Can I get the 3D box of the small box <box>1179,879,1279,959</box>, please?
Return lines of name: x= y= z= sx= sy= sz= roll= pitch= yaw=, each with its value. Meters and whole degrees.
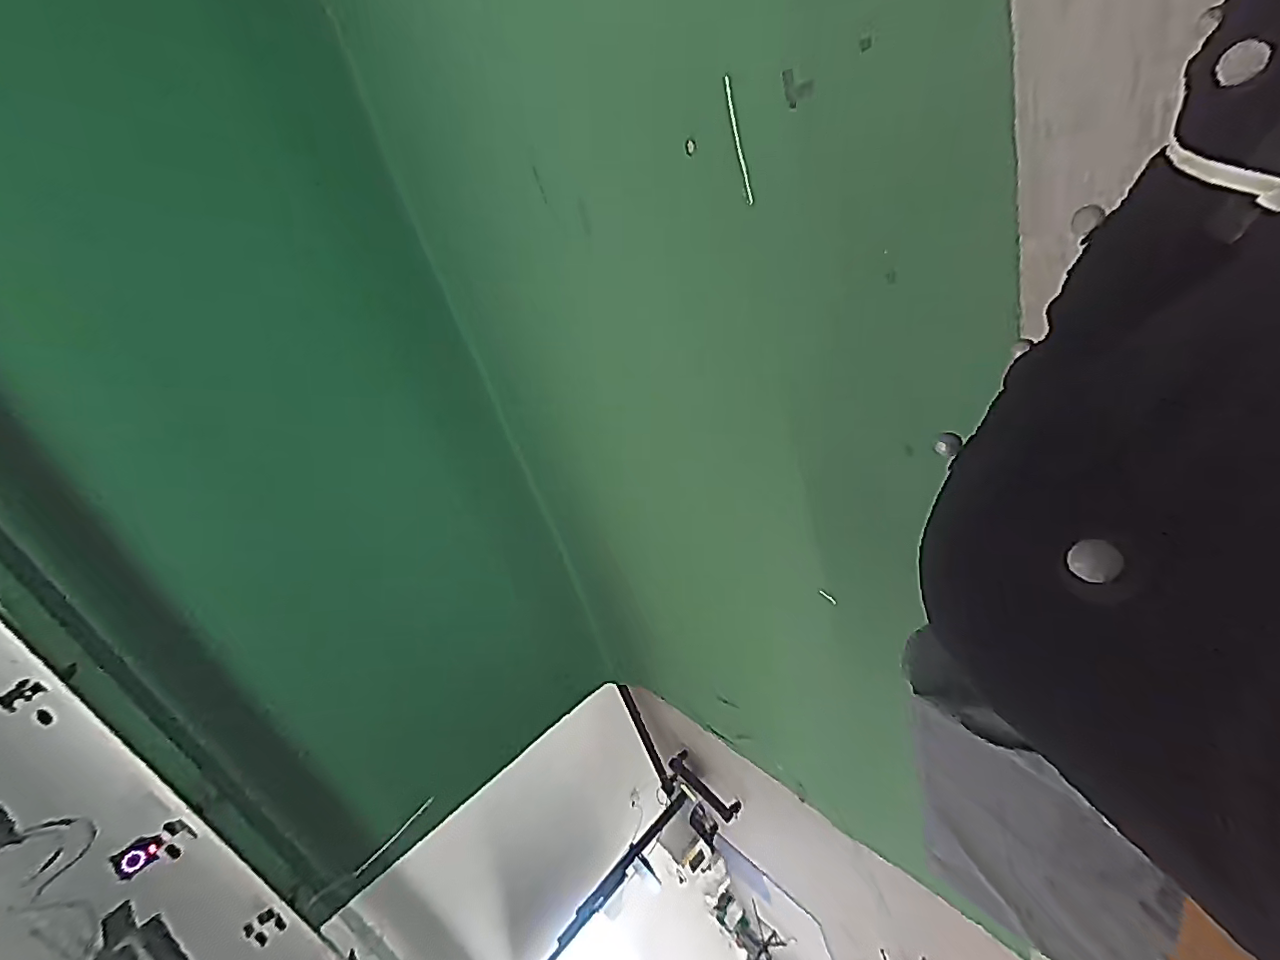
small box: x=0.769 y=0.646 z=0.654 sx=0.168 sy=0.176 sz=0.179 roll=12 pitch=128 yaw=51
